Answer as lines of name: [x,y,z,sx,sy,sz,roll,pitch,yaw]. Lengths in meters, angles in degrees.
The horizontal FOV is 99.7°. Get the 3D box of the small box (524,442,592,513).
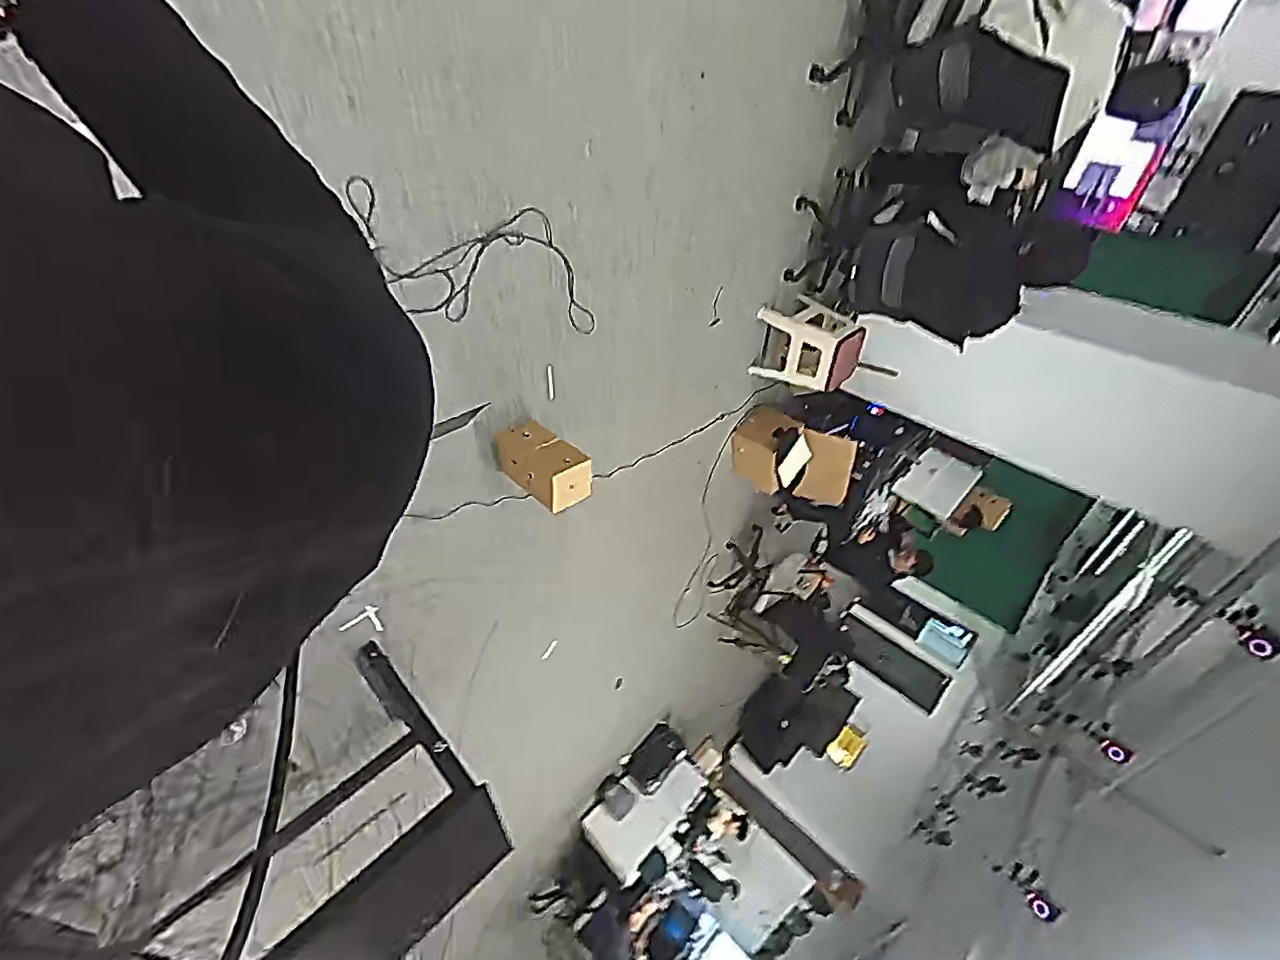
small box: [-0.293,-0.015,1.937,0.179,0.176,0.168,-28,137,-37]

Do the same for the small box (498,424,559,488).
small box: [-0.412,-0.092,2.020,0.168,0.176,0.179,-33,139,-34]
